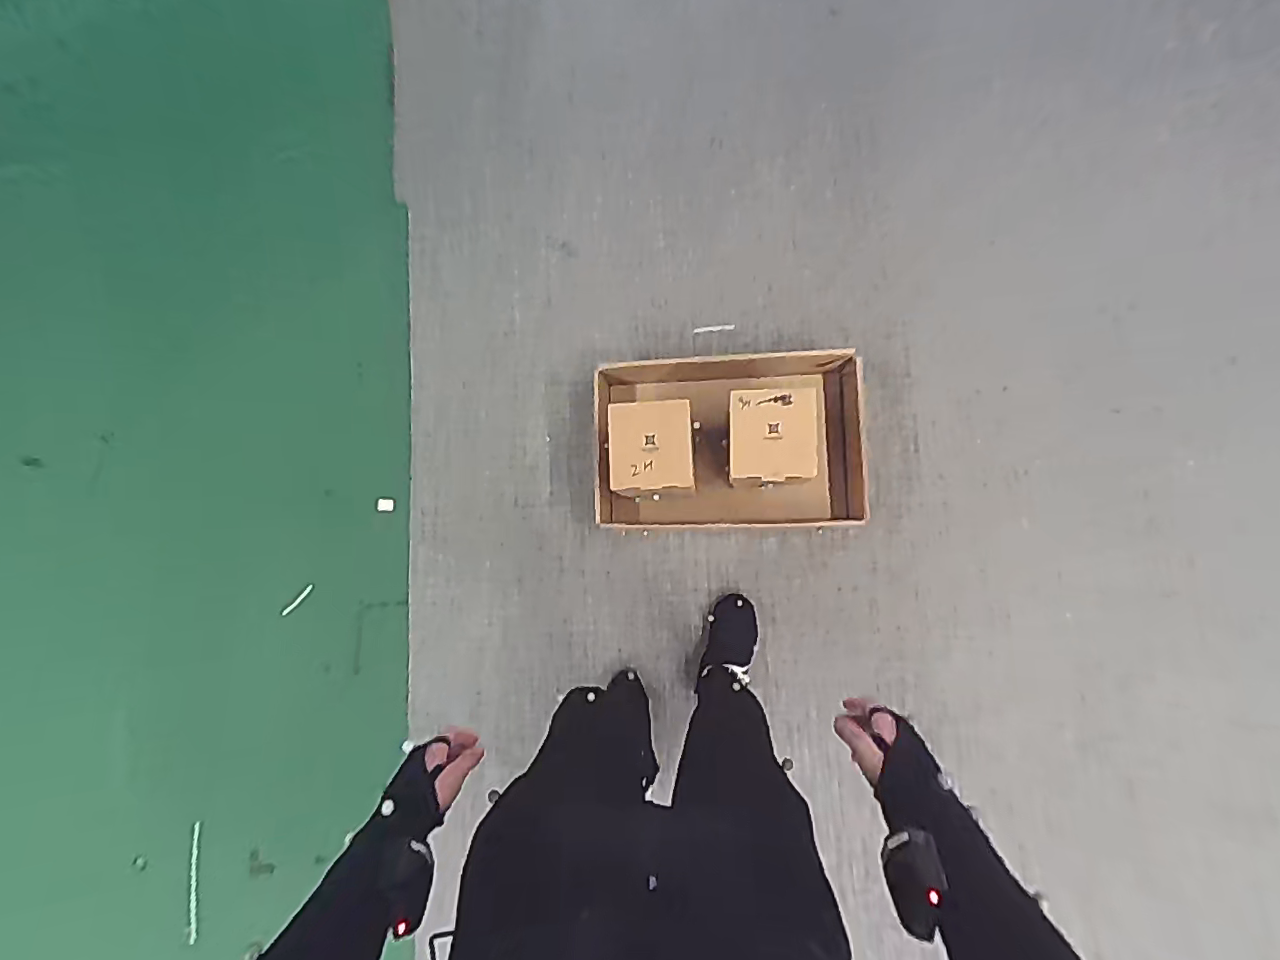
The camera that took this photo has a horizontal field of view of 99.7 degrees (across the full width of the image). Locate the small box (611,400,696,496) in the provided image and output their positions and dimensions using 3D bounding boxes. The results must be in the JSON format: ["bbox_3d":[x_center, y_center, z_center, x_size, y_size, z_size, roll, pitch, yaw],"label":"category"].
[{"bbox_3d":[0.032,-0.062,1.144,0.168,0.176,0.179,-2,84,7],"label":"small box"}]
